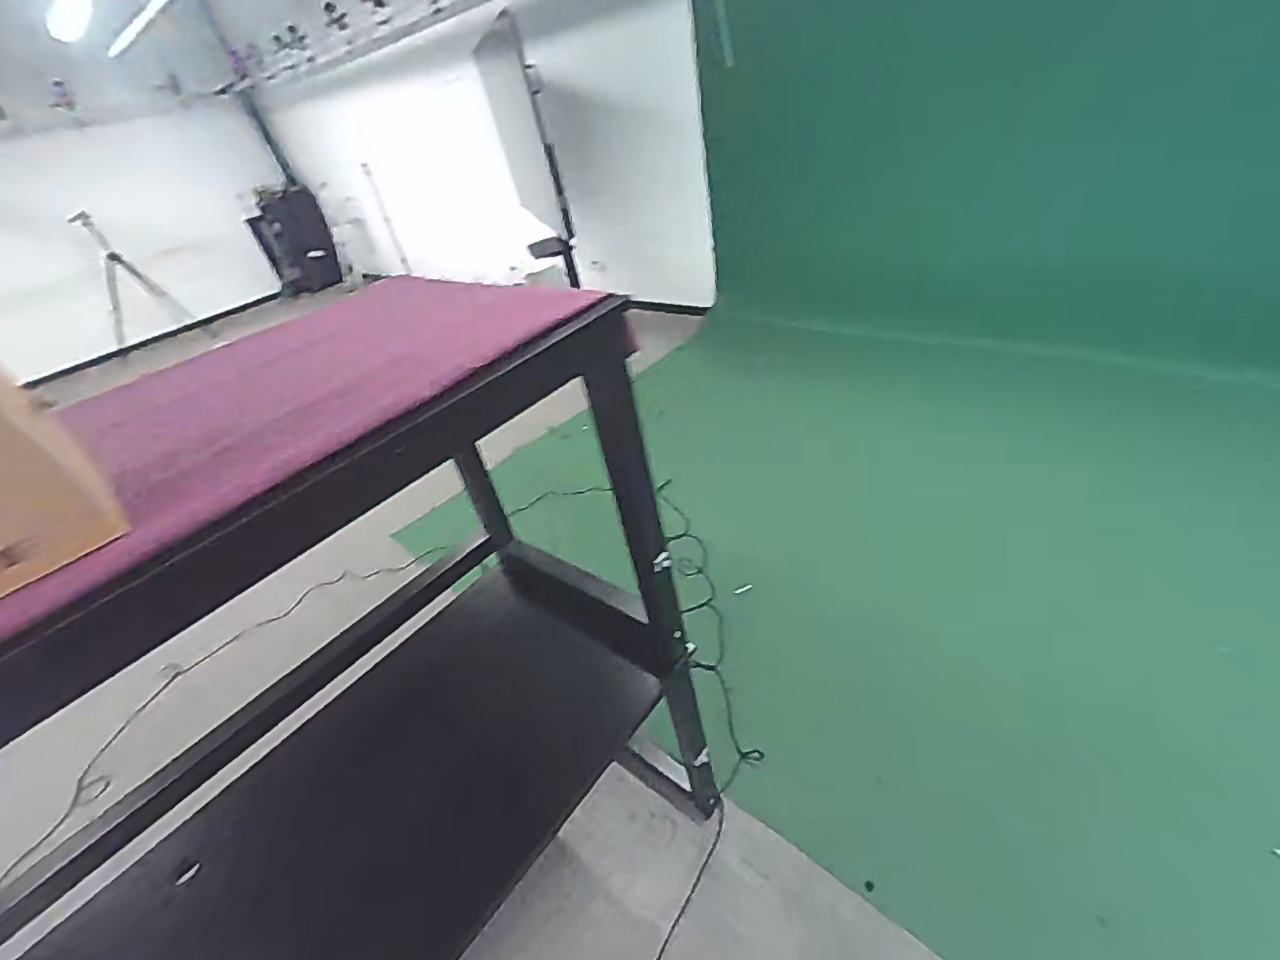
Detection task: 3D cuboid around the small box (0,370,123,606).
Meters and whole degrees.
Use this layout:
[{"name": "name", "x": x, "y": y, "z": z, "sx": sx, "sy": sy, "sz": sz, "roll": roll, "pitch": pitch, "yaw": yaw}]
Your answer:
[{"name": "small box", "x": -0.546, "y": 0.006, "z": 0.404, "sx": 0.179, "sy": 0.176, "sz": 0.168, "roll": 21, "pitch": 49, "yaw": 39}]
